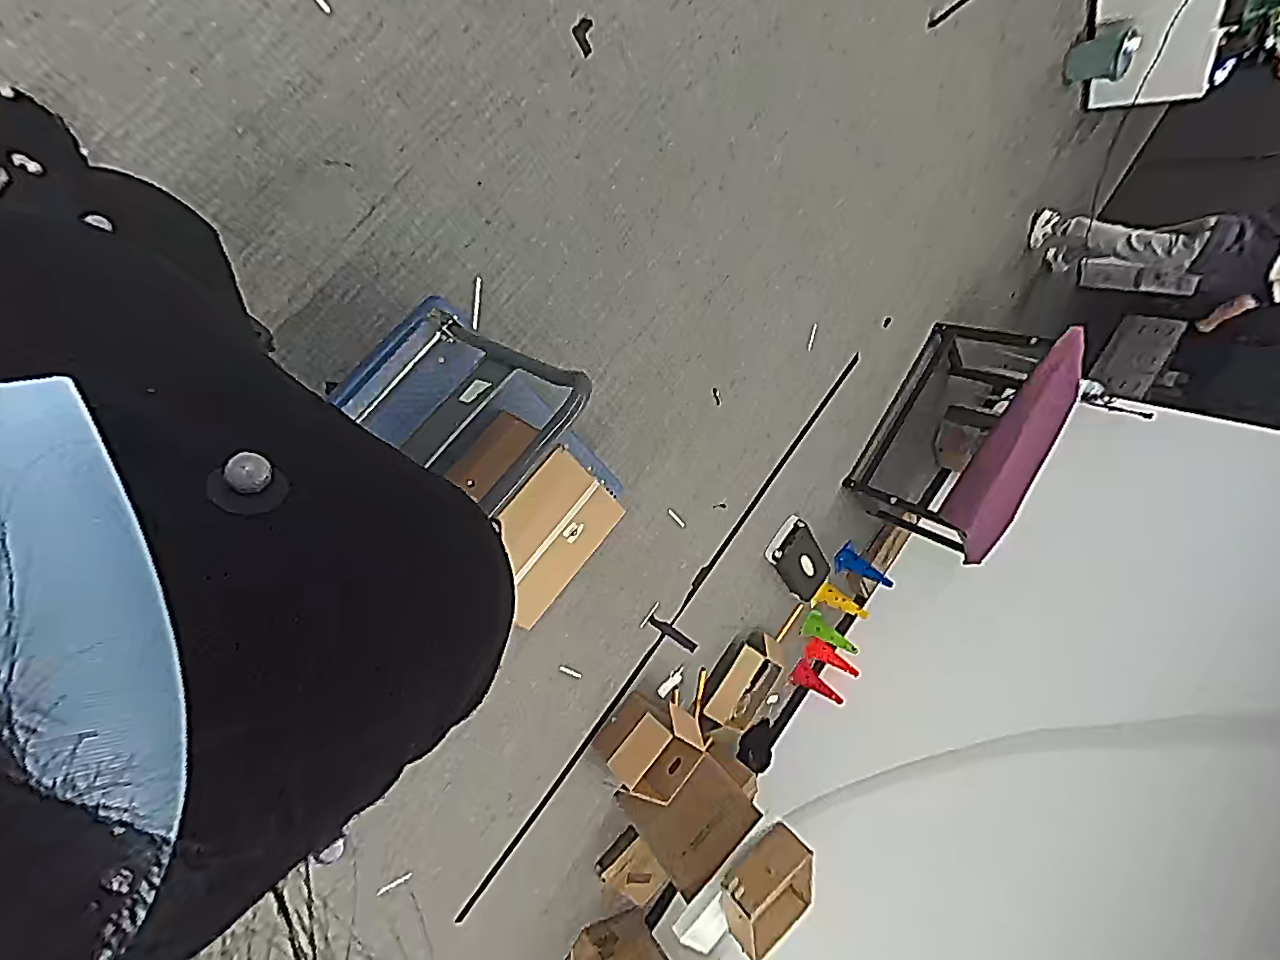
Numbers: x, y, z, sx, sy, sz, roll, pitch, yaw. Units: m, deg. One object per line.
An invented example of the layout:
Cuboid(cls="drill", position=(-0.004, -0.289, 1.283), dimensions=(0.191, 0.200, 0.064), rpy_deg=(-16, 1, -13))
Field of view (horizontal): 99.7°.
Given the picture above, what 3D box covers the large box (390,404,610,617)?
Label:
Cuboid(cls="large box", position=(-0.365, 0.073, 1.423), dimensions=(0.408, 0.320, 0.320), rpy_deg=(-52, 136, -11))
